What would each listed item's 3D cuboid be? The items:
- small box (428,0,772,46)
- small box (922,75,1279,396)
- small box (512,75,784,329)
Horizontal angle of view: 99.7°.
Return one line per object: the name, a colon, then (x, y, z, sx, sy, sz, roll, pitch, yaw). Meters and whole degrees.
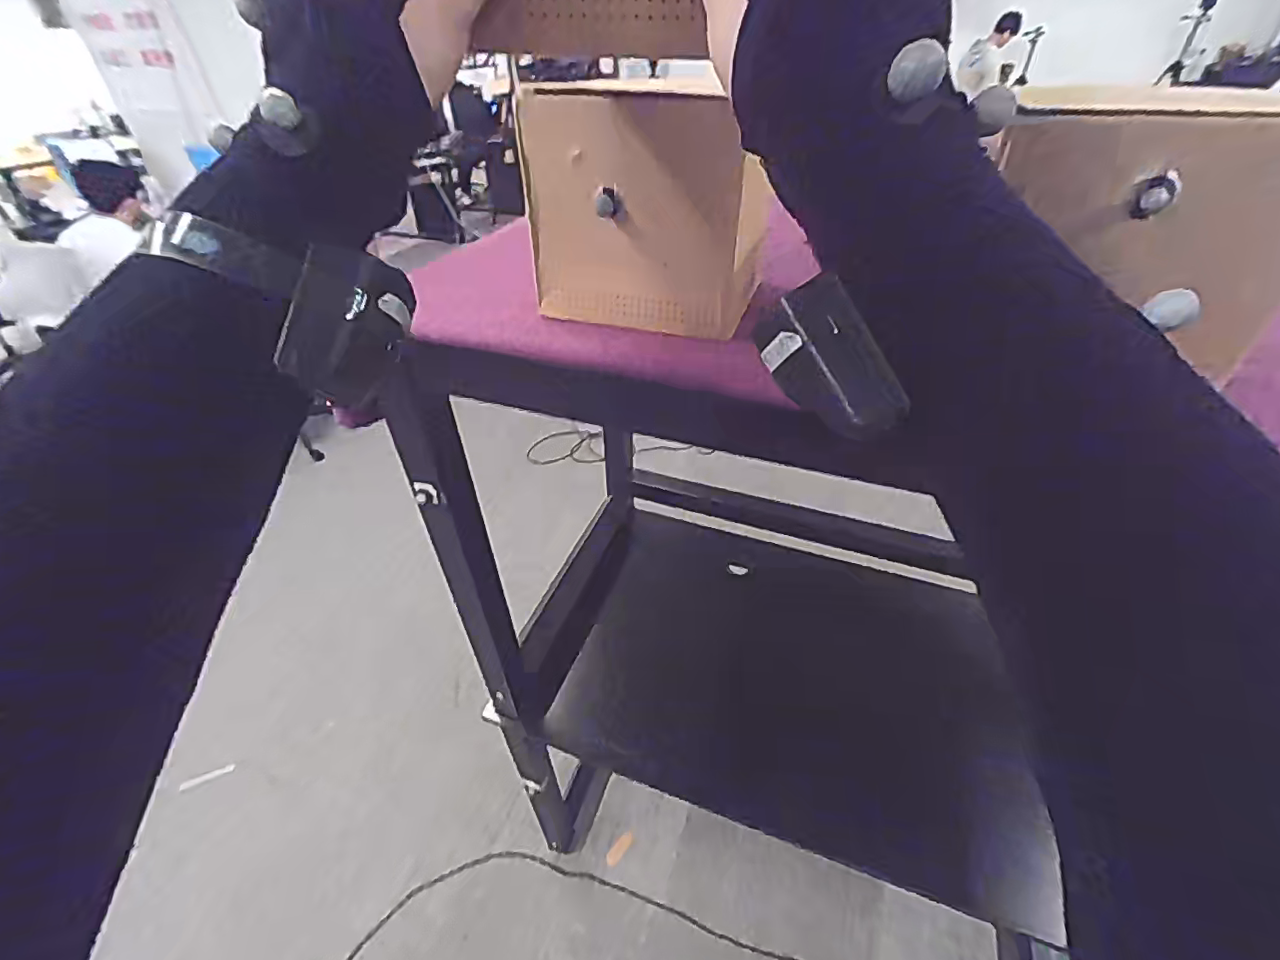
small box: (-0.017, -0.326, 0.238, 0.179, 0.176, 0.168, 7, 62, 7)
small box: (0.311, -0.175, 0.379, 0.179, 0.176, 0.168, 12, 41, 16)
small box: (0.017, -0.243, 0.470, 0.179, 0.176, 0.168, 11, 40, 16)
